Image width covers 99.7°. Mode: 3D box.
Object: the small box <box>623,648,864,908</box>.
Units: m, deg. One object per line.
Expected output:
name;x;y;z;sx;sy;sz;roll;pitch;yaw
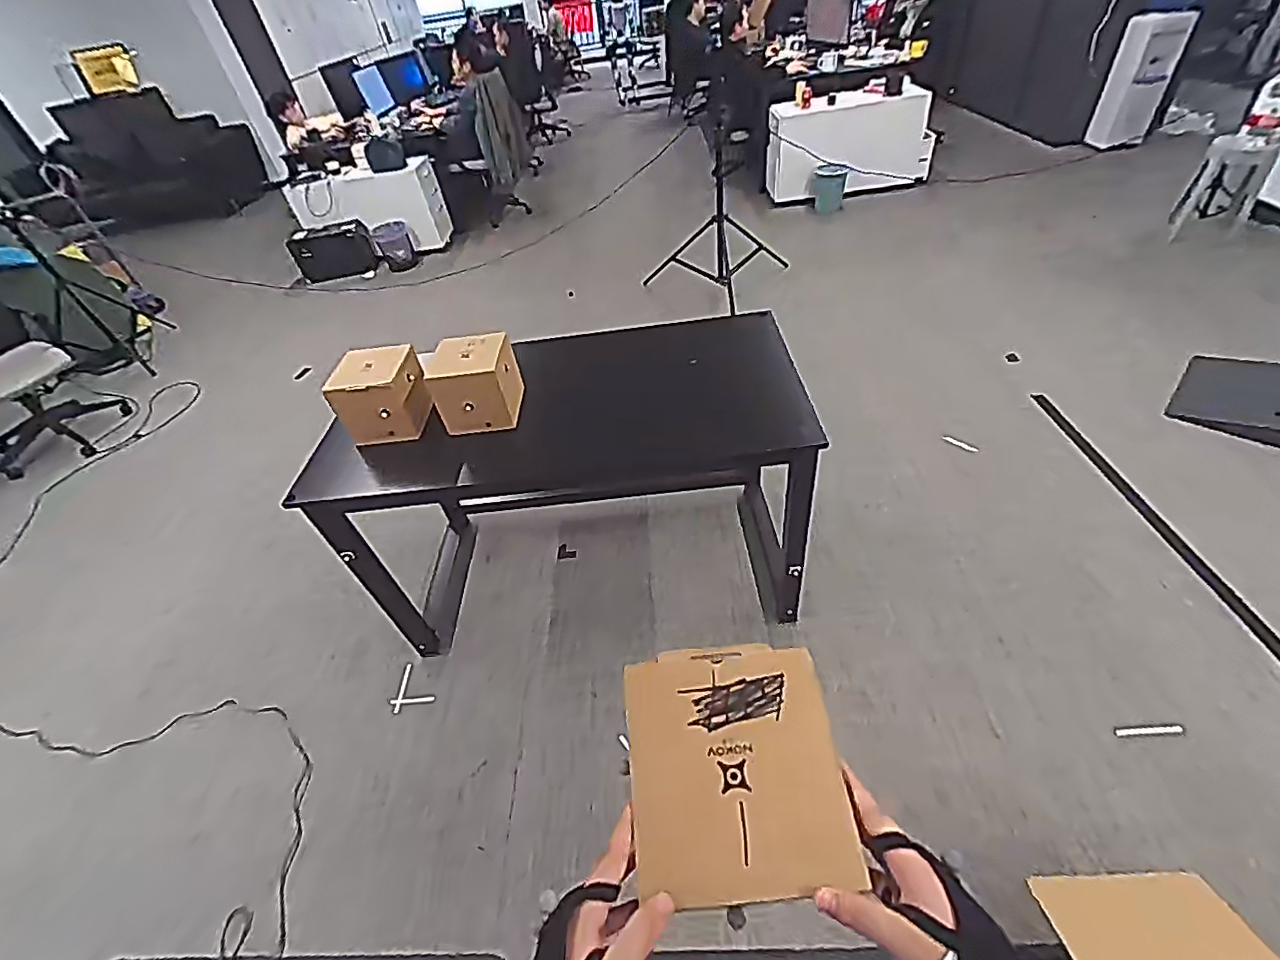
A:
small box;0.074;0.273;0.491;0.168;0.176;0.179;-6;53;0

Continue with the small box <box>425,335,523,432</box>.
small box;-0.392;-0.229;1.315;0.168;0.176;0.179;-5;43;4

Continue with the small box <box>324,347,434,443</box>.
small box;-0.630;-0.203;1.333;0.168;0.176;0.179;-6;43;2
